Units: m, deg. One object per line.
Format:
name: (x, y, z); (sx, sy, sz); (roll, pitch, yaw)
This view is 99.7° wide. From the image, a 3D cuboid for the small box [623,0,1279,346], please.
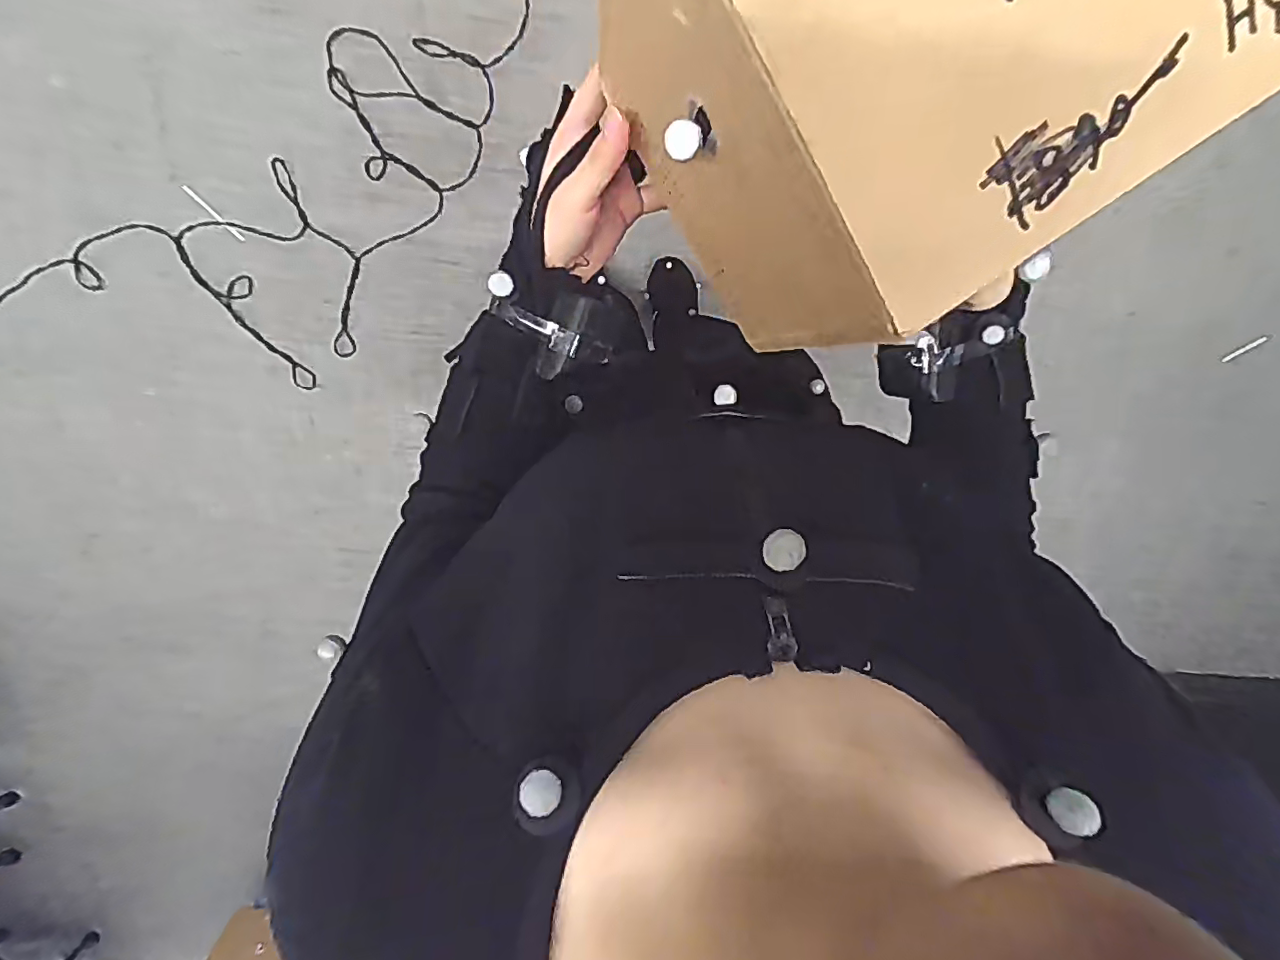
small box: (0.103, -0.176, 0.240); (0.168, 0.176, 0.179); (-34, 102, 4)
